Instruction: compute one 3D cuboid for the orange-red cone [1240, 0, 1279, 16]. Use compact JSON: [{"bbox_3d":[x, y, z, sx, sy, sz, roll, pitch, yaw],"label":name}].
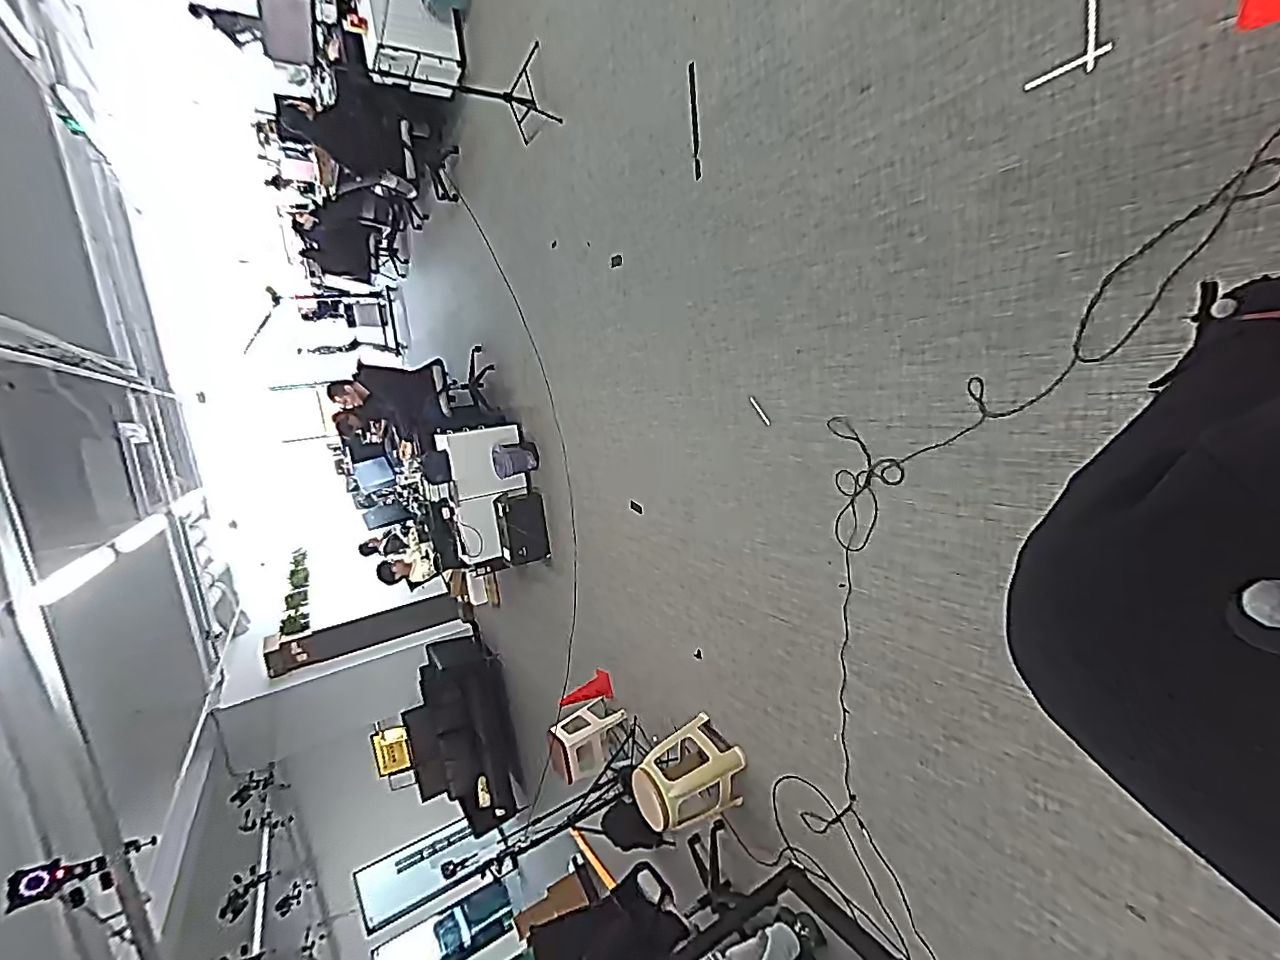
[{"bbox_3d":[0.920,-0.824,0.731,0.199,0.360,0.198,19,116,57],"label":"orange-red cone"}]
